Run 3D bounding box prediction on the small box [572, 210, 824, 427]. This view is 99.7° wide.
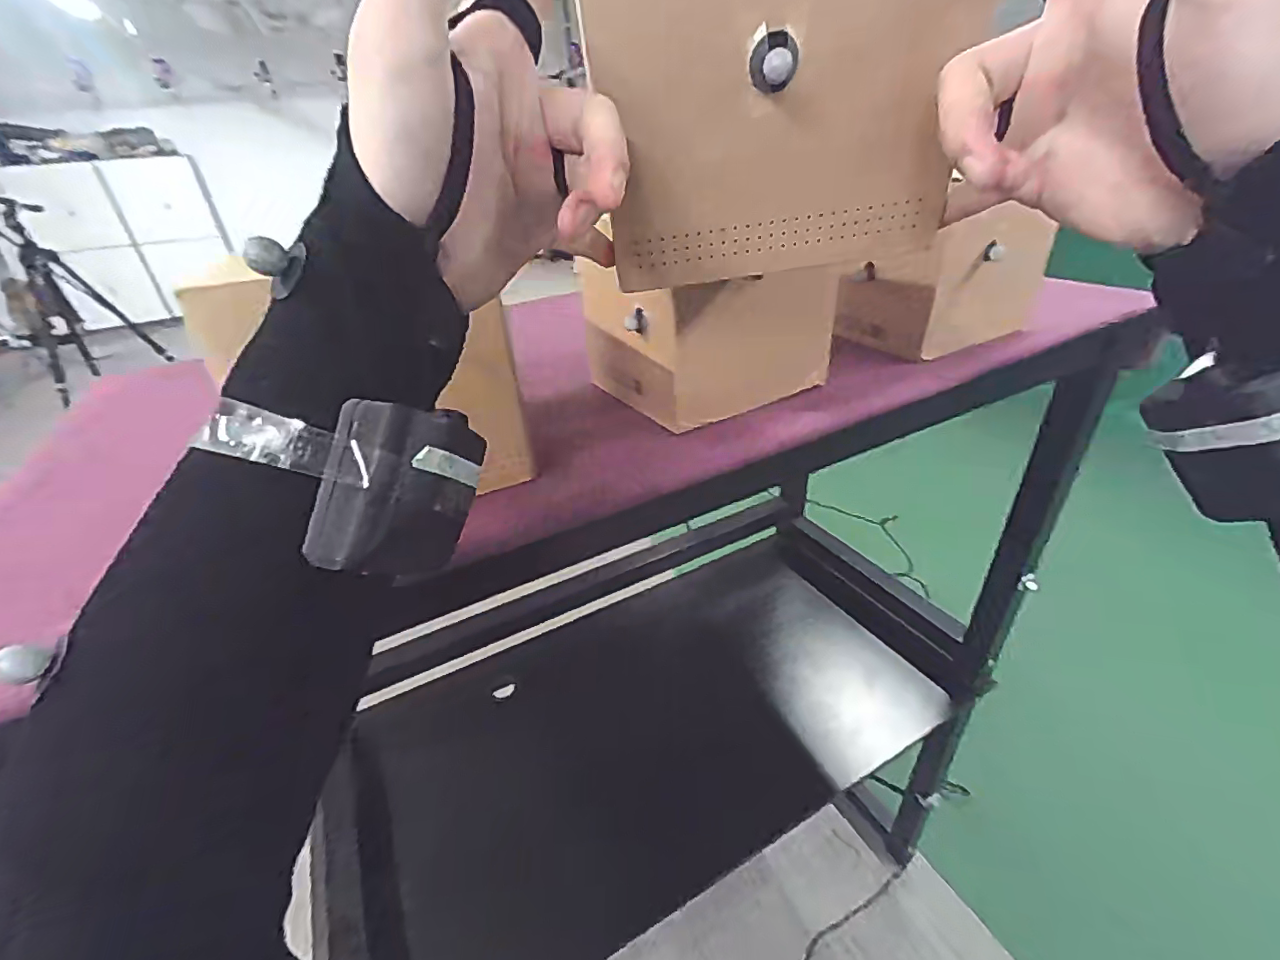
[{"bbox_3d":[0.058,-0.164,0.507,0.179,0.176,0.168,-20,34,-24],"label":"small box"}]

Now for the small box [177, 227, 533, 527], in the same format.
[{"bbox_3d":[-0.191,-0.082,0.408,0.168,0.176,0.179,-18,32,-19],"label":"small box"}]

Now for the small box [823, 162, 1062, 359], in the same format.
[{"bbox_3d":[0.314,-0.248,0.605,0.179,0.176,0.168,-20,36,-21],"label":"small box"}]

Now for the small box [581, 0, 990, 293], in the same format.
[{"bbox_3d":[0.063,-0.225,0.303,0.179,0.176,0.168,-8,43,2],"label":"small box"}]
